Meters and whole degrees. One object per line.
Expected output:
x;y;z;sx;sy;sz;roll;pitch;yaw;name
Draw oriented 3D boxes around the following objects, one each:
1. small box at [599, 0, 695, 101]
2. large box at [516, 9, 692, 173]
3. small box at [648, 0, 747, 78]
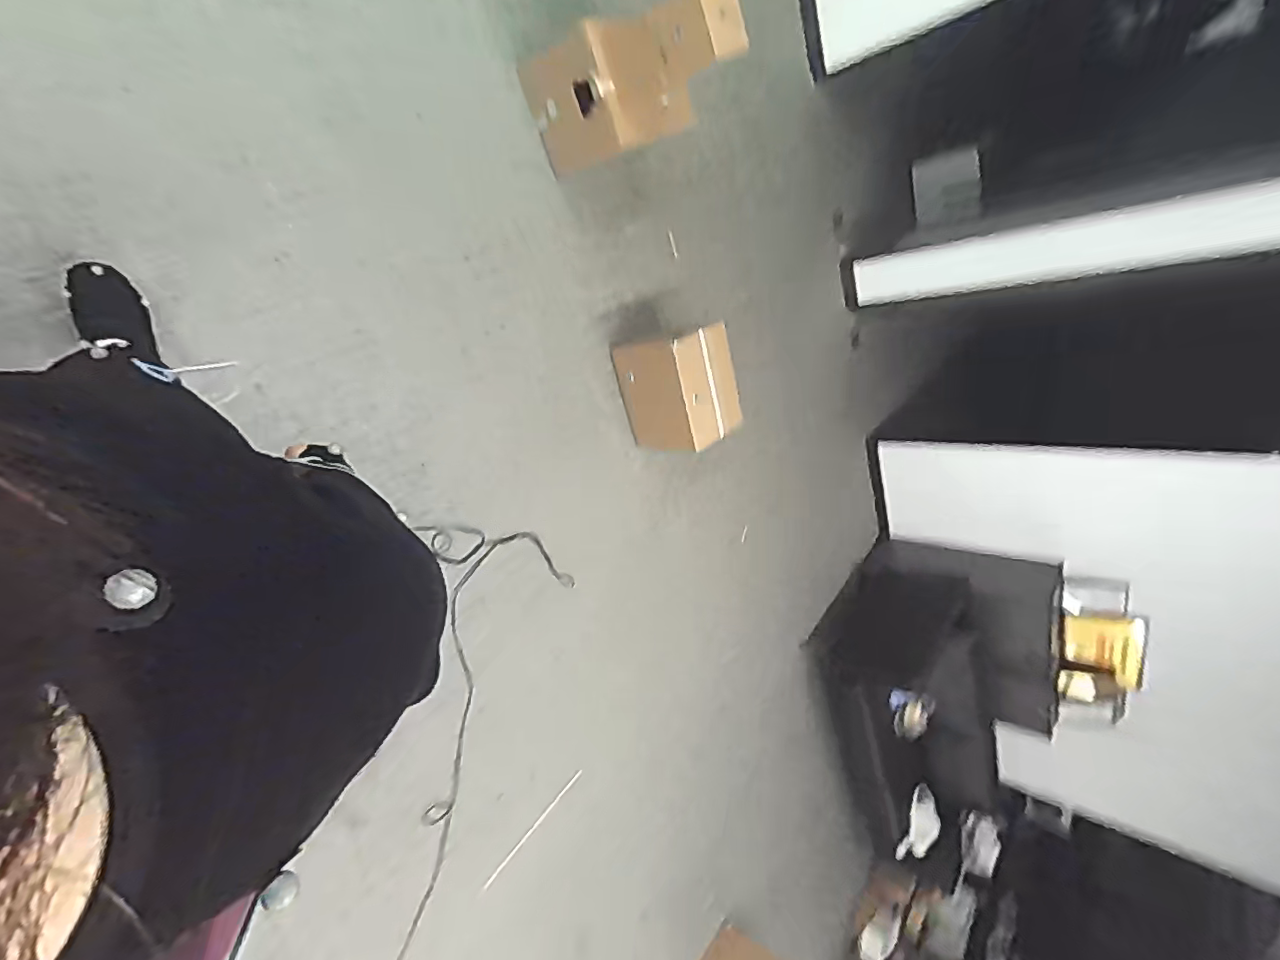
0.020;-1.179;1.492;0.168;0.176;0.179;-43;123;-35;small box
-0.106;-1.224;1.709;0.408;0.320;0.320;-42;123;-35;large box
0.141;-1.168;1.382;0.179;0.176;0.168;-47;126;-32;small box
